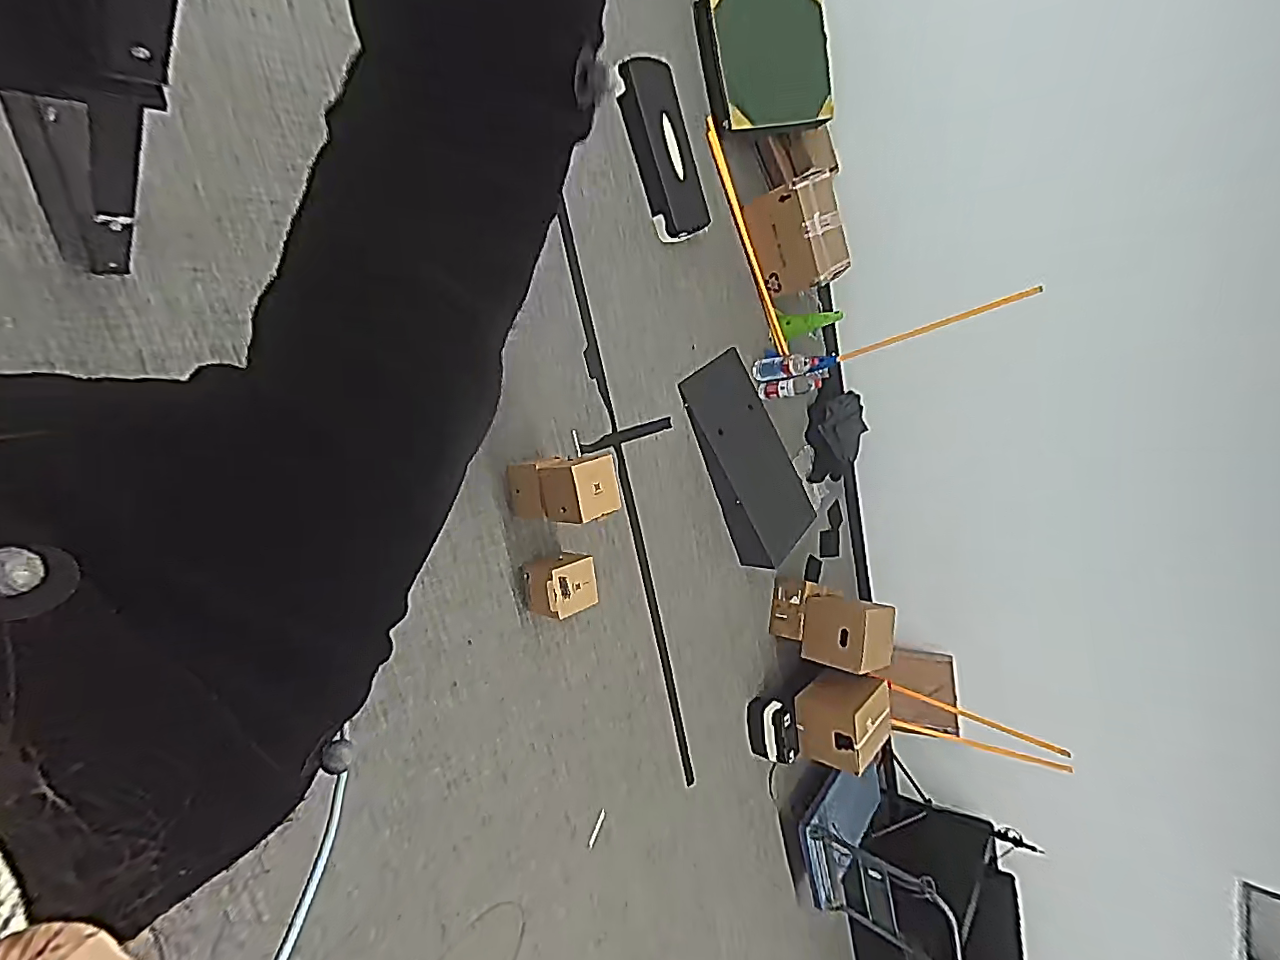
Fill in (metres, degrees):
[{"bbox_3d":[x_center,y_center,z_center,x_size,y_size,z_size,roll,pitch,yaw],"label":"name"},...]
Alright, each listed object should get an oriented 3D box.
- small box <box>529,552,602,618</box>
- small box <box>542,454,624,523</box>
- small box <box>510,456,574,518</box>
[{"bbox_3d":[-0.256,0.344,1.808,0.179,0.176,0.168,-15,100,-45],"label":"small box"},{"bbox_3d":[-0.177,0.022,1.659,0.168,0.176,0.179,-21,104,-44],"label":"small box"},{"bbox_3d":[-0.303,0.017,1.763,0.168,0.176,0.179,-15,101,-45],"label":"small box"}]
